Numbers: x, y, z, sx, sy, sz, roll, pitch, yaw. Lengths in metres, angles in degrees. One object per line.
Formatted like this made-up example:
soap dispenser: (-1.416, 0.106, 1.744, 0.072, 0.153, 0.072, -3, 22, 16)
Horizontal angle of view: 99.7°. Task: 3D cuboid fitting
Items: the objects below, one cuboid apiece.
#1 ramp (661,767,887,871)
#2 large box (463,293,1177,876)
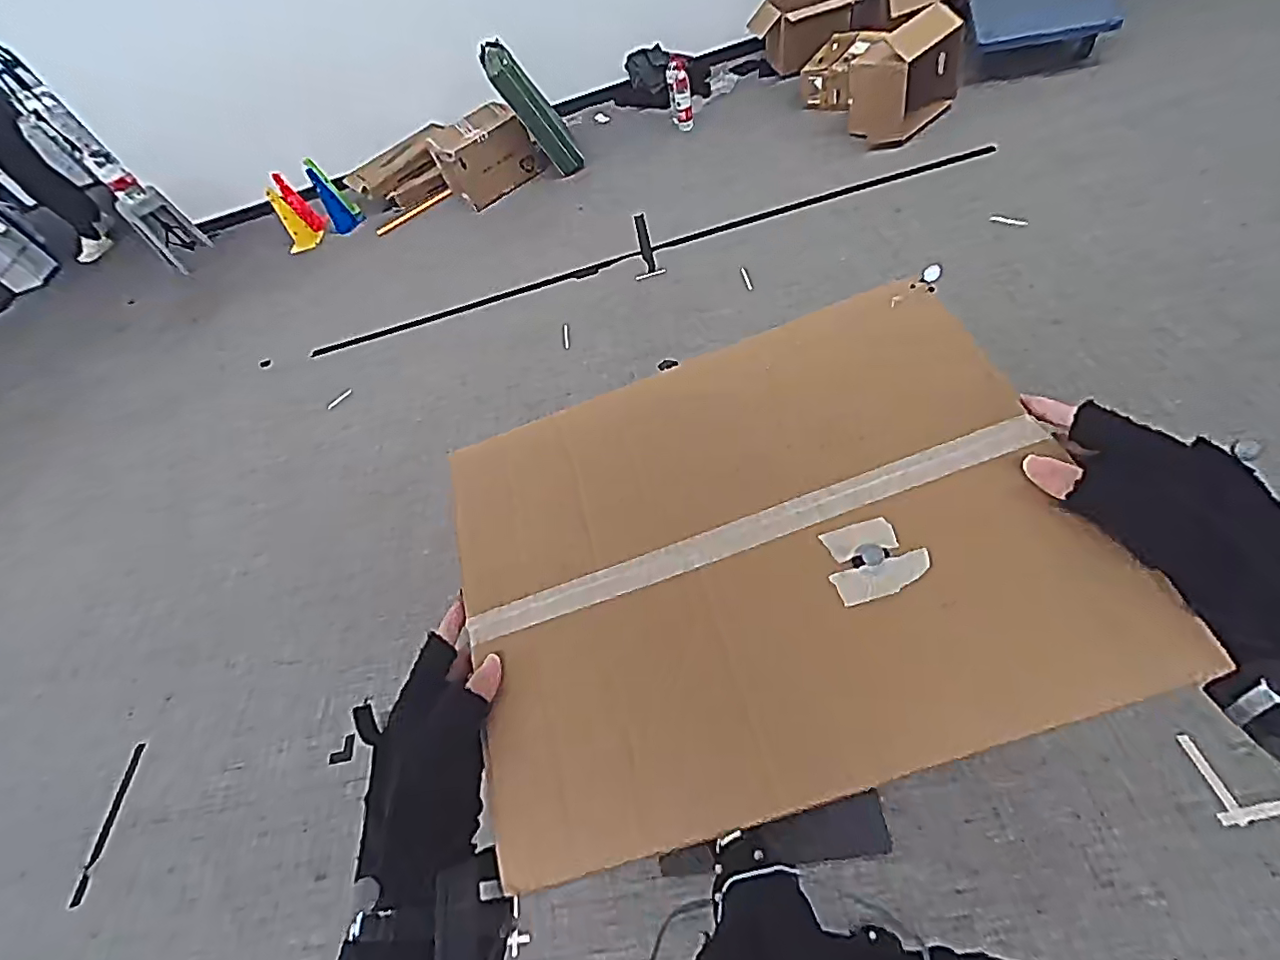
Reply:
ramp: (0.225, 0.368, 1.374, 0.509, 0.206, 0.991, -13, 54, 6)
large box: (0.104, 0.107, 0.510, 0.408, 0.320, 0.320, -21, 61, 4)
